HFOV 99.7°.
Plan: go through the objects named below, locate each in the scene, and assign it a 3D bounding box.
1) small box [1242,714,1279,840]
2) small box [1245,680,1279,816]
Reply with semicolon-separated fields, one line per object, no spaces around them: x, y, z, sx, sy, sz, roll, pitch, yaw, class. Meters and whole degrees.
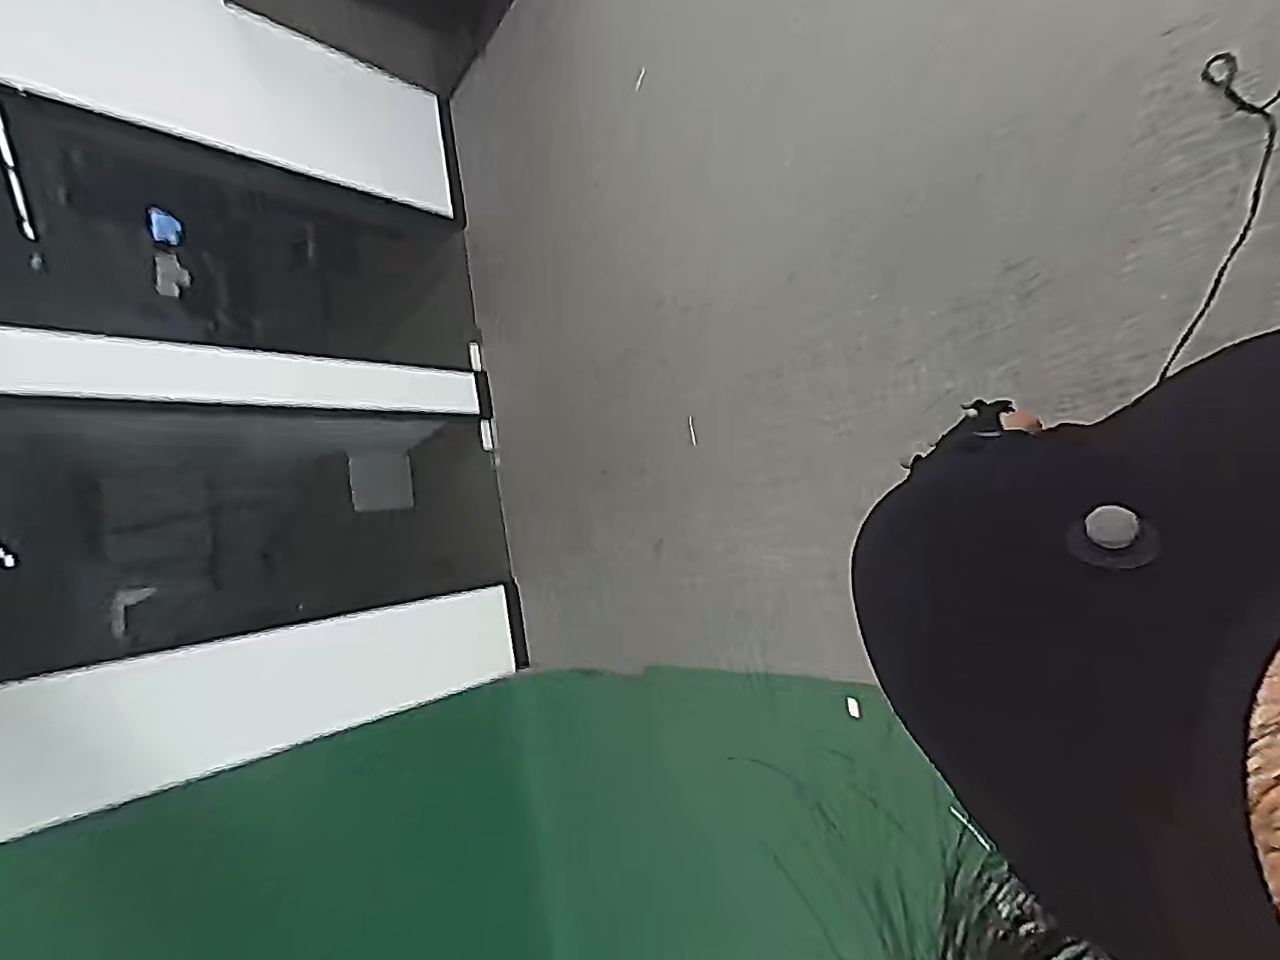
0.996;0.446;0.758;0.168;0.176;0.179;-21;75;43;small box
1.112;0.444;0.872;0.168;0.176;0.179;-8;86;45;small box
